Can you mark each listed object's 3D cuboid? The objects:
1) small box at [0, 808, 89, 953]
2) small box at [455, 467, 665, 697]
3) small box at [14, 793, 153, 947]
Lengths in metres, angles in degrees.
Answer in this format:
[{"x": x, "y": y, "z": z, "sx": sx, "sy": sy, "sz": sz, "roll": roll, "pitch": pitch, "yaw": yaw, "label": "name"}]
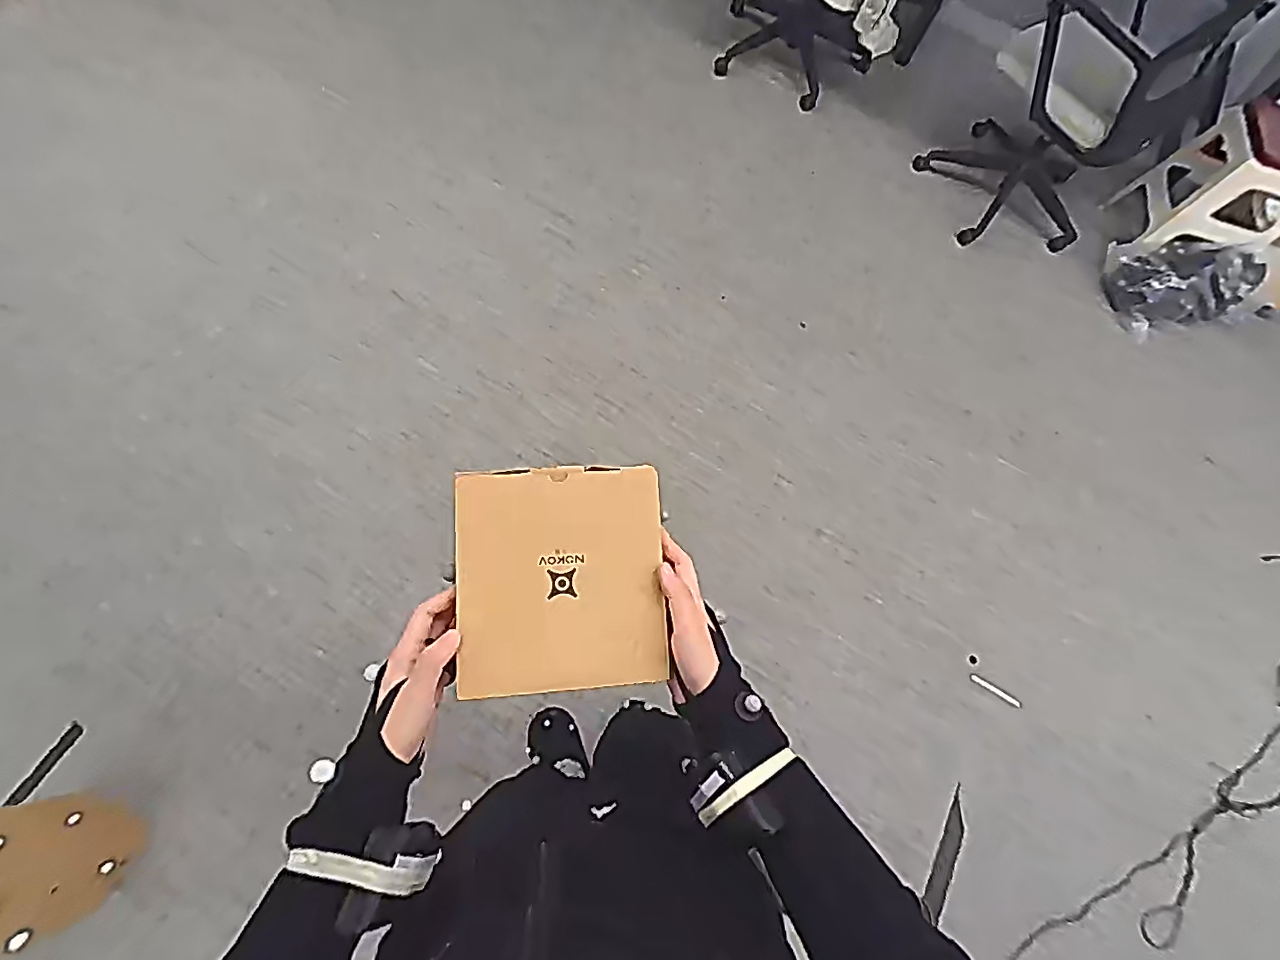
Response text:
[{"x": -1.097, "y": 0.674, "z": 0.891, "sx": 0.179, "sy": 0.176, "sz": 0.168, "roll": 27, "pitch": 69, "yaw": 3, "label": "small box"}, {"x": -0.074, "y": 0.088, "z": 0.509, "sx": 0.168, "sy": 0.176, "sz": 0.179, "roll": -2, "pitch": 82, "yaw": -9, "label": "small box"}, {"x": -1.119, "y": 0.734, "z": 1.043, "sx": 0.179, "sy": 0.176, "sz": 0.168, "roll": 26, "pitch": 69, "yaw": 4, "label": "small box"}]
